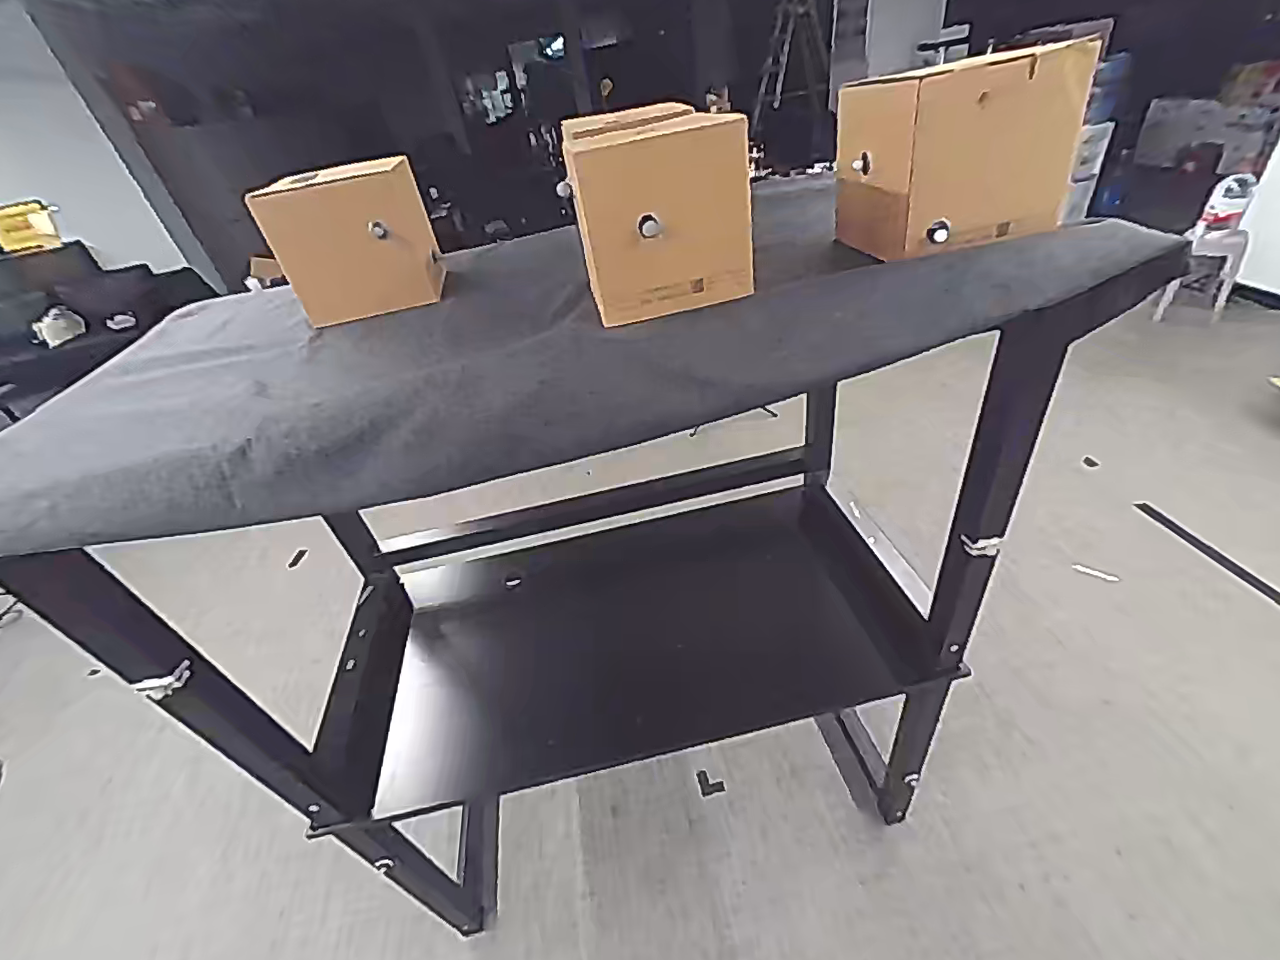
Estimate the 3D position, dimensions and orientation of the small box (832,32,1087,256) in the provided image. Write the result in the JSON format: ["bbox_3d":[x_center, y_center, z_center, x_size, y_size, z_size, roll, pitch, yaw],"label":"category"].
[{"bbox_3d":[0.324,-0.357,0.593,0.168,0.176,0.179,-12,33,0],"label":"small box"}]

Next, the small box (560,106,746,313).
[{"bbox_3d":[0.014,-0.298,0.602,0.168,0.176,0.179,-13,35,-3],"label":"small box"}]

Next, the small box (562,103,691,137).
[{"bbox_3d":[-0.015,-0.447,0.807,0.168,0.176,0.179,-13,36,-3],"label":"small box"}]
